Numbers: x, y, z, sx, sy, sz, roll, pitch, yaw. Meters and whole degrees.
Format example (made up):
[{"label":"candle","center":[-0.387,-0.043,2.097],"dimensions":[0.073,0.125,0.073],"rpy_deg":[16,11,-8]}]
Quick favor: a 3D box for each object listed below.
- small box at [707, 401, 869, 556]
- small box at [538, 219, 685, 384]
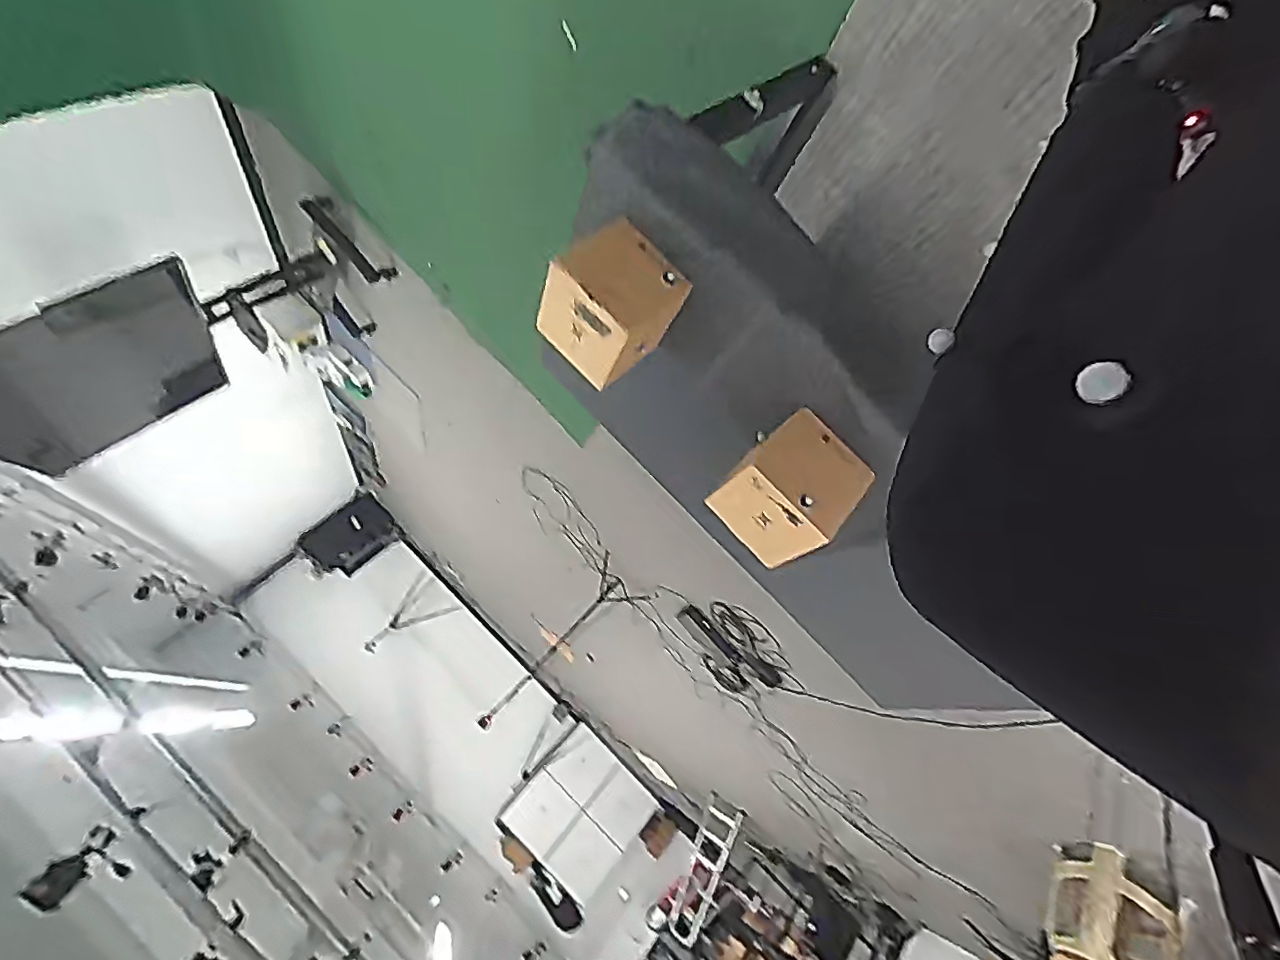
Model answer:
[{"label":"small box","center":[0.252,0.000,0.924],"dimensions":[0.168,0.176,0.179],"rpy_deg":[44,152,2]},{"label":"small box","center":[-0.048,-0.305,0.926],"dimensions":[0.168,0.176,0.179],"rpy_deg":[45,153,1]}]
